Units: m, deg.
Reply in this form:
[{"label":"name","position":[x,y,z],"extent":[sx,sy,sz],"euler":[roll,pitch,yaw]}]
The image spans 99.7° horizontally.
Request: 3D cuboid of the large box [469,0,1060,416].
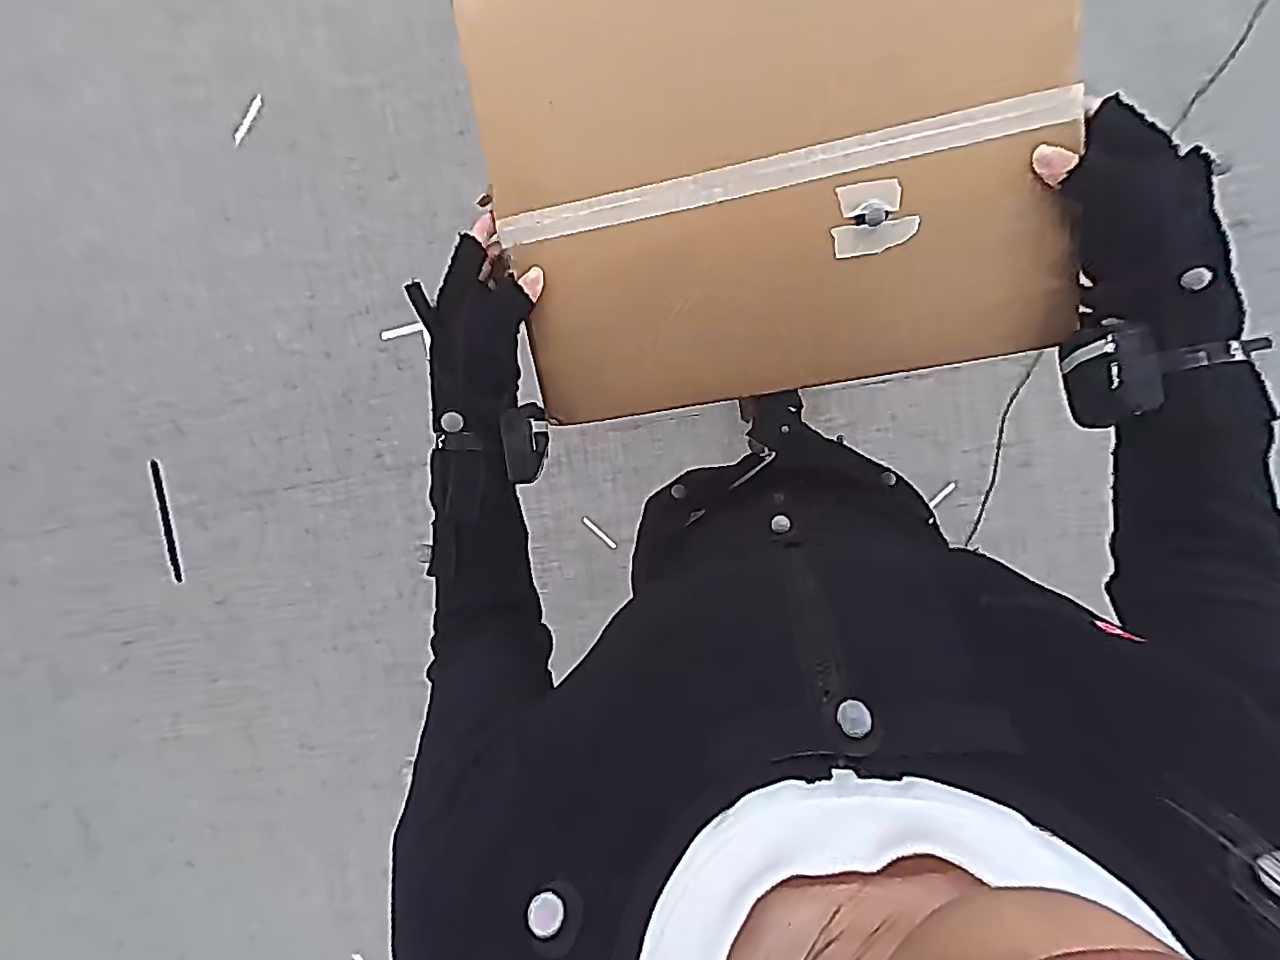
[{"label":"large box","position":[0.108,-0.271,0.546],"extent":[0.408,0.320,0.320],"euler":[-9,106,9]}]
